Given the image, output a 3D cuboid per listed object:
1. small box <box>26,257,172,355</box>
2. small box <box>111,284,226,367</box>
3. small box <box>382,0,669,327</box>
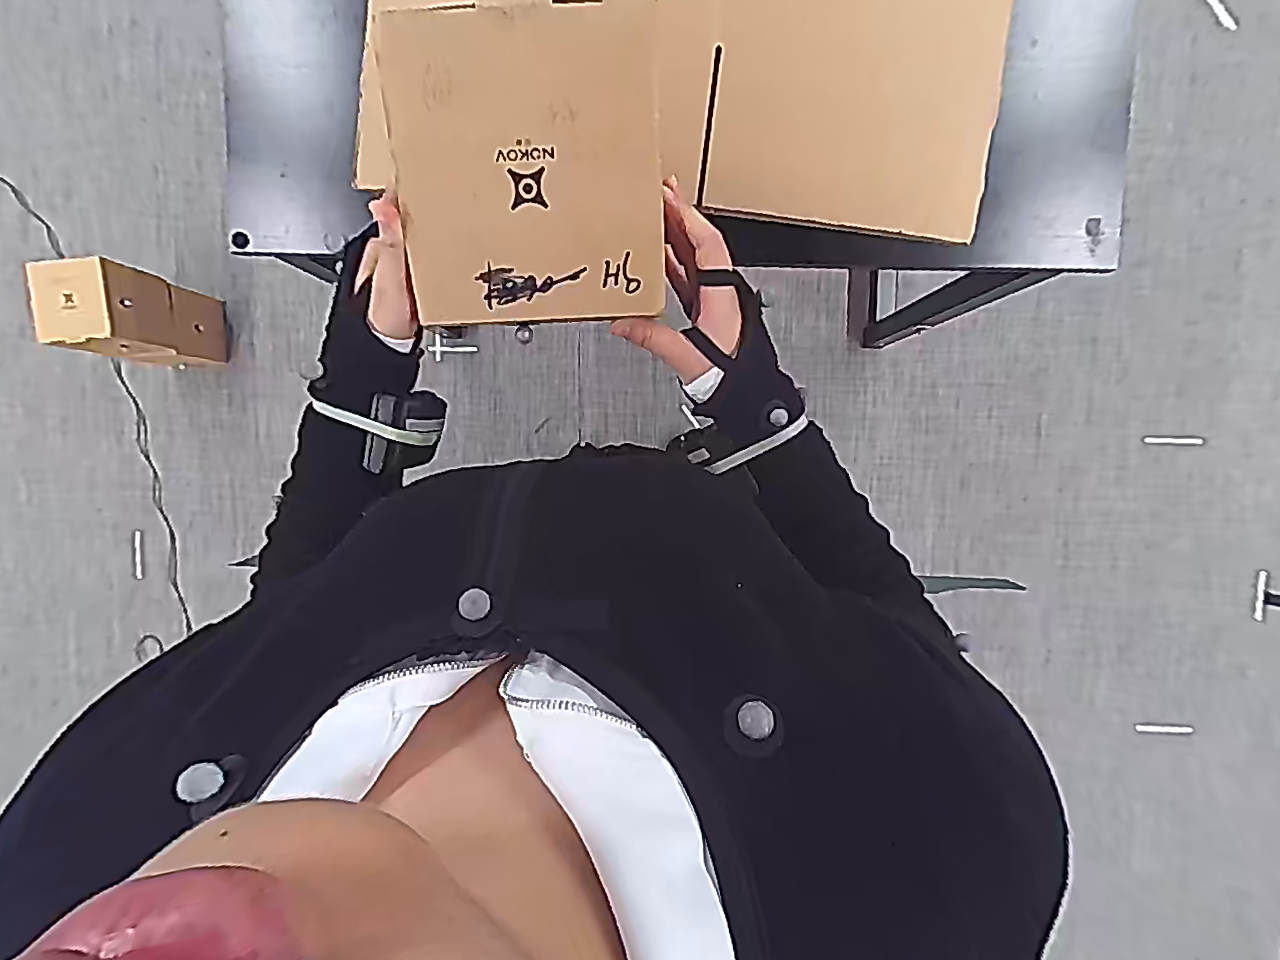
[{"bbox_3d":[-1.230,-0.390,1.244,0.168,0.176,0.179,-5,93,1],"label":"small box"},{"bbox_3d":[-1.225,-0.395,1.406,0.168,0.176,0.179,-2,95,2],"label":"small box"},{"bbox_3d":[-0.064,-0.209,0.407,0.168,0.176,0.179,-2,106,2],"label":"small box"}]
